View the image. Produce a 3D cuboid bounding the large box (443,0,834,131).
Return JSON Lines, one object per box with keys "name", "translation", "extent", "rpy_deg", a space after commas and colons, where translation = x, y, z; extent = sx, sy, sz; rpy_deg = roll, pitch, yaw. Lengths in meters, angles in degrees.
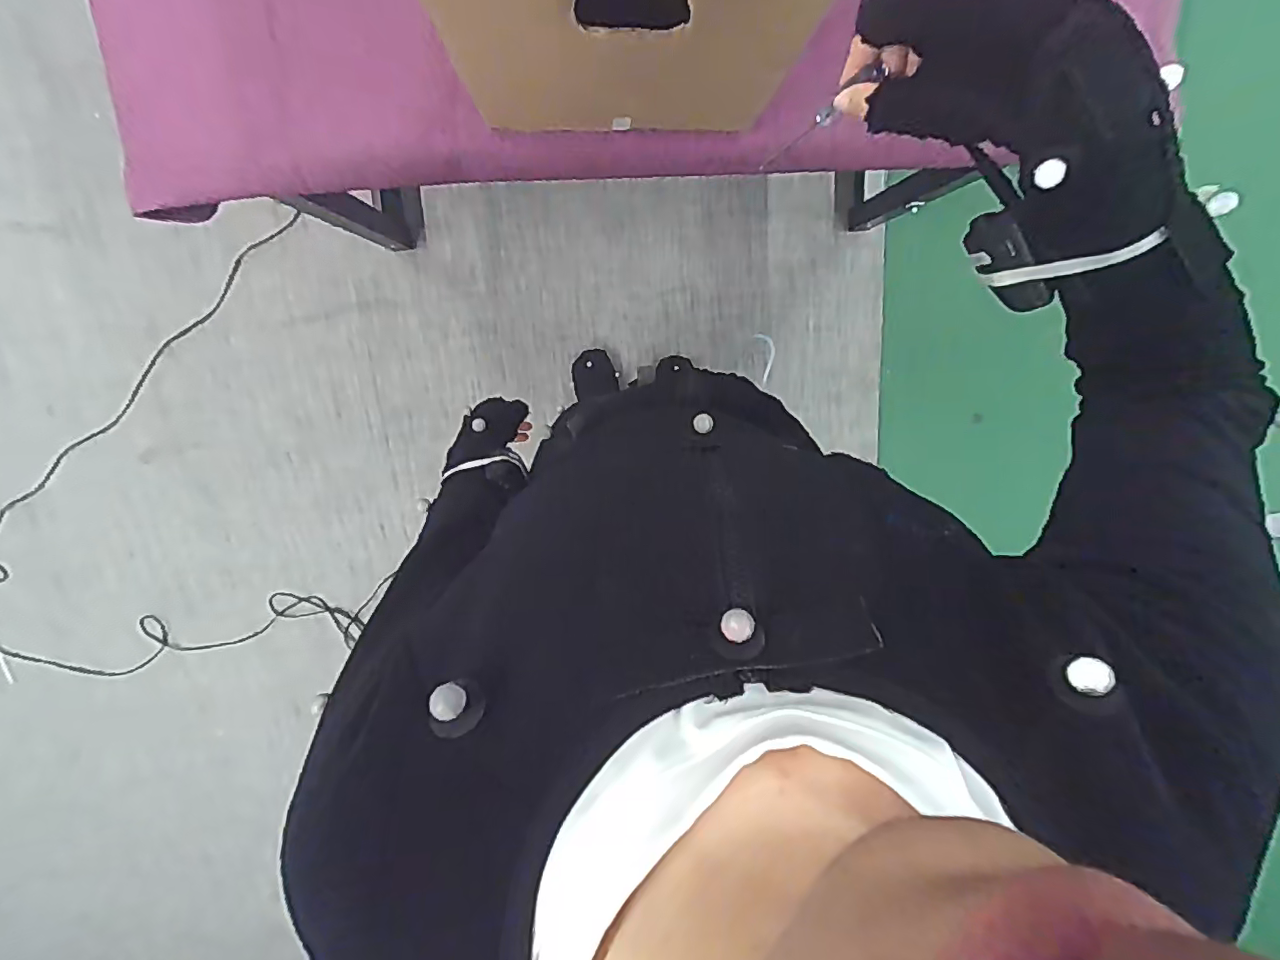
{"name": "large box", "translation": [-0.012, -0.580, 0.458], "extent": [0.320, 0.320, 0.408], "rpy_deg": [-1, 104, -3]}
